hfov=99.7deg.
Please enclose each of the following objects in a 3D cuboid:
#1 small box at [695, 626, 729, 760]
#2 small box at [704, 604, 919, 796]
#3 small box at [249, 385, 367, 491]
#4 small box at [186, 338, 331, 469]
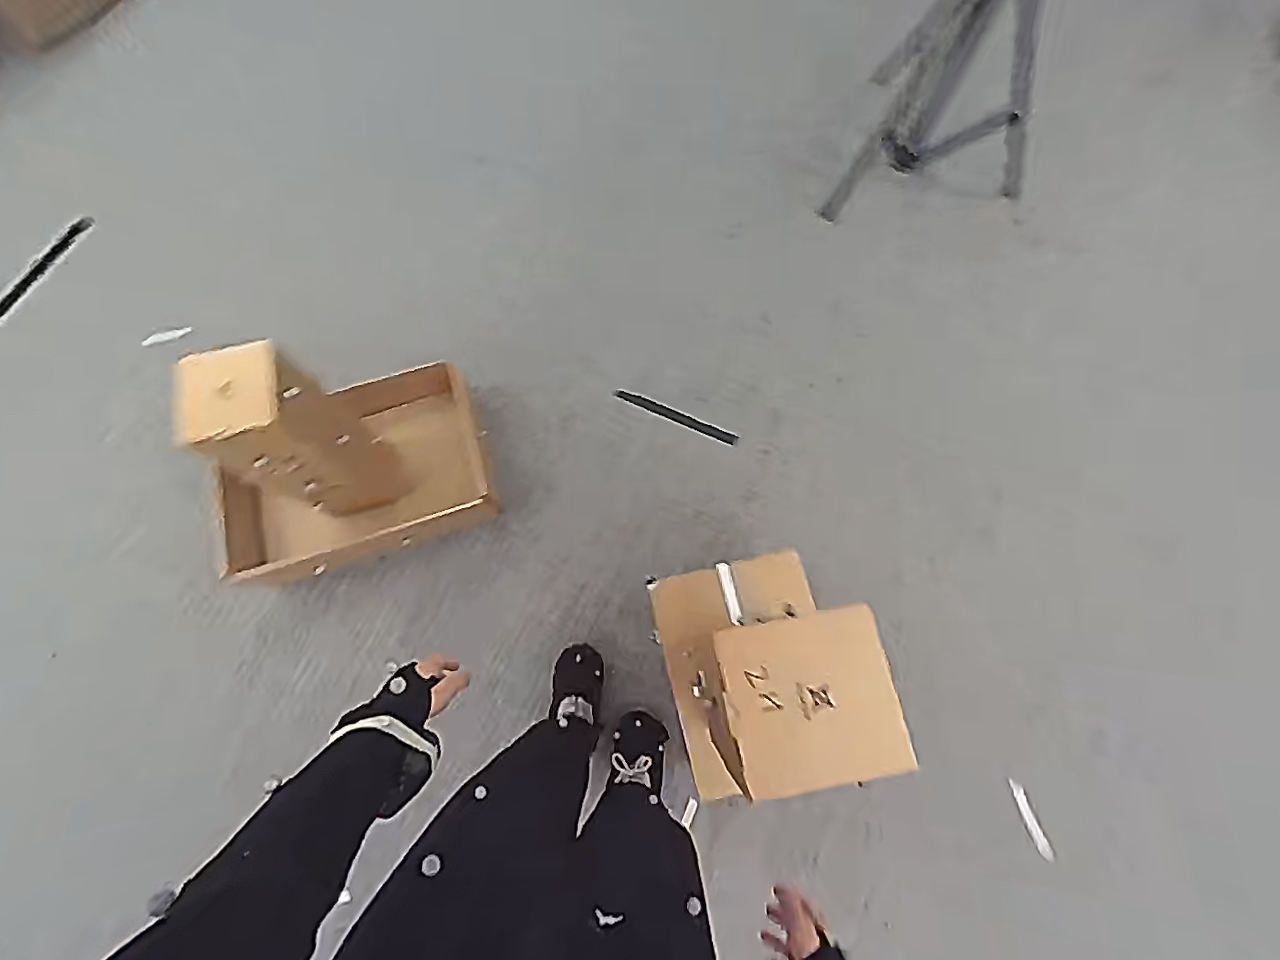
[{"bbox_3d":[0.186,0.292,0.793,0.179,0.176,0.168,-10,73,-1],"label":"small box"},{"bbox_3d":[0.182,0.245,0.635,0.179,0.176,0.168,-10,73,-2],"label":"small box"},{"bbox_3d":[-0.725,-0.084,1.192,0.168,0.176,0.179,-13,74,-4],"label":"small box"},{"bbox_3d":[-0.722,-0.141,1.039,0.168,0.176,0.179,-14,73,-4],"label":"small box"}]
